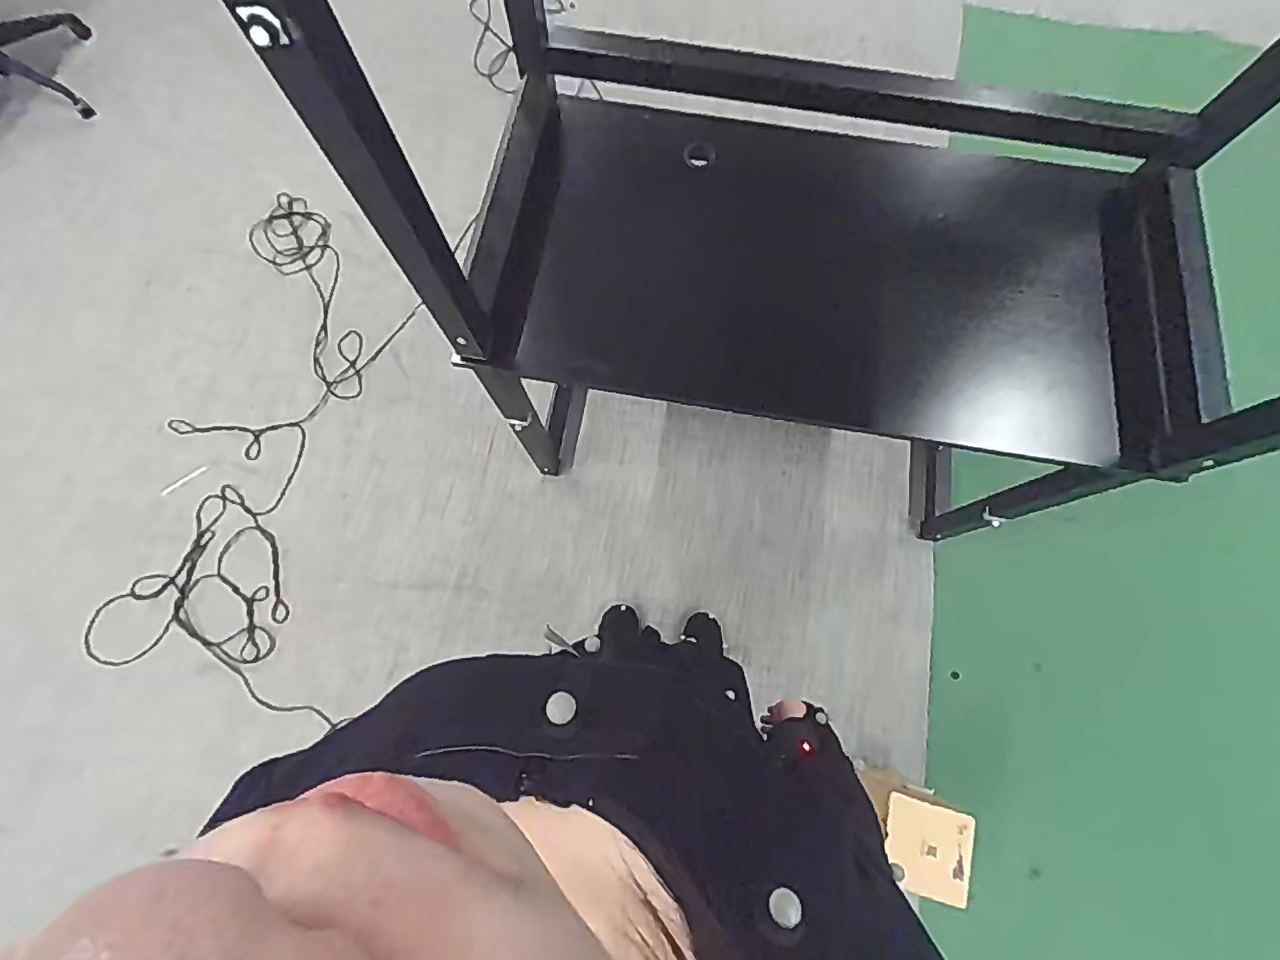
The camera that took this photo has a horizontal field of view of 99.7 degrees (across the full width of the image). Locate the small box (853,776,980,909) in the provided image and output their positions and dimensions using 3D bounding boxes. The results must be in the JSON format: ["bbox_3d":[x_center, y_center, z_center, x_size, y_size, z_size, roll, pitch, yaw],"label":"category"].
[{"bbox_3d":[0.572,0.747,1.138,0.179,0.176,0.168,16,75,5],"label":"small box"}]
